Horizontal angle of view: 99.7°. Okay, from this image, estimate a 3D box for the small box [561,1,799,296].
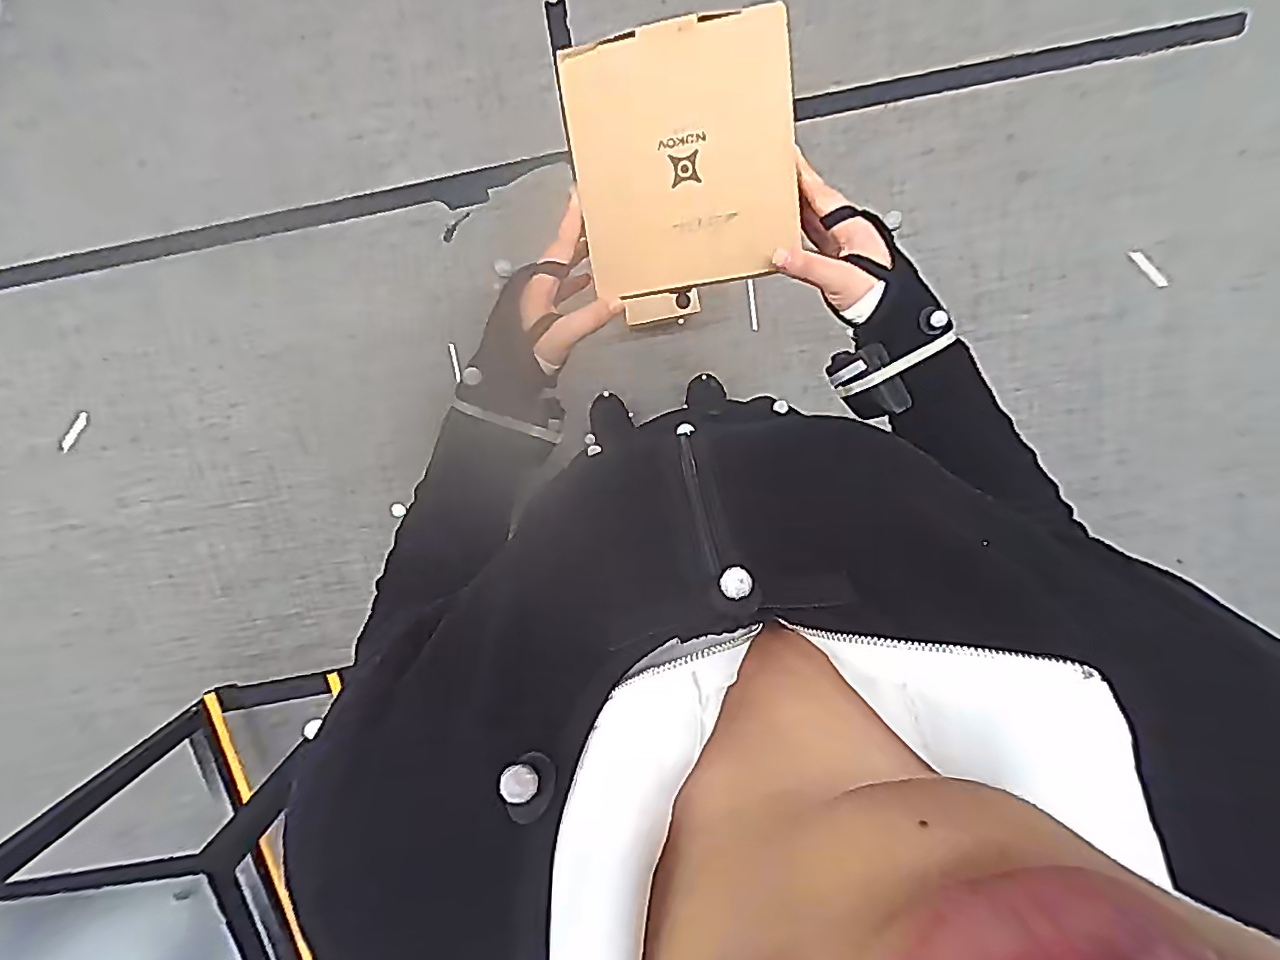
[{"bbox_3d":[0.038,-0.267,0.483,0.168,0.176,0.179,-7,108,7],"label":"small box"}]

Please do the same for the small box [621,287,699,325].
[{"bbox_3d":[0.038,-0.481,1.328,0.179,0.176,0.168,-10,102,2],"label":"small box"}]
